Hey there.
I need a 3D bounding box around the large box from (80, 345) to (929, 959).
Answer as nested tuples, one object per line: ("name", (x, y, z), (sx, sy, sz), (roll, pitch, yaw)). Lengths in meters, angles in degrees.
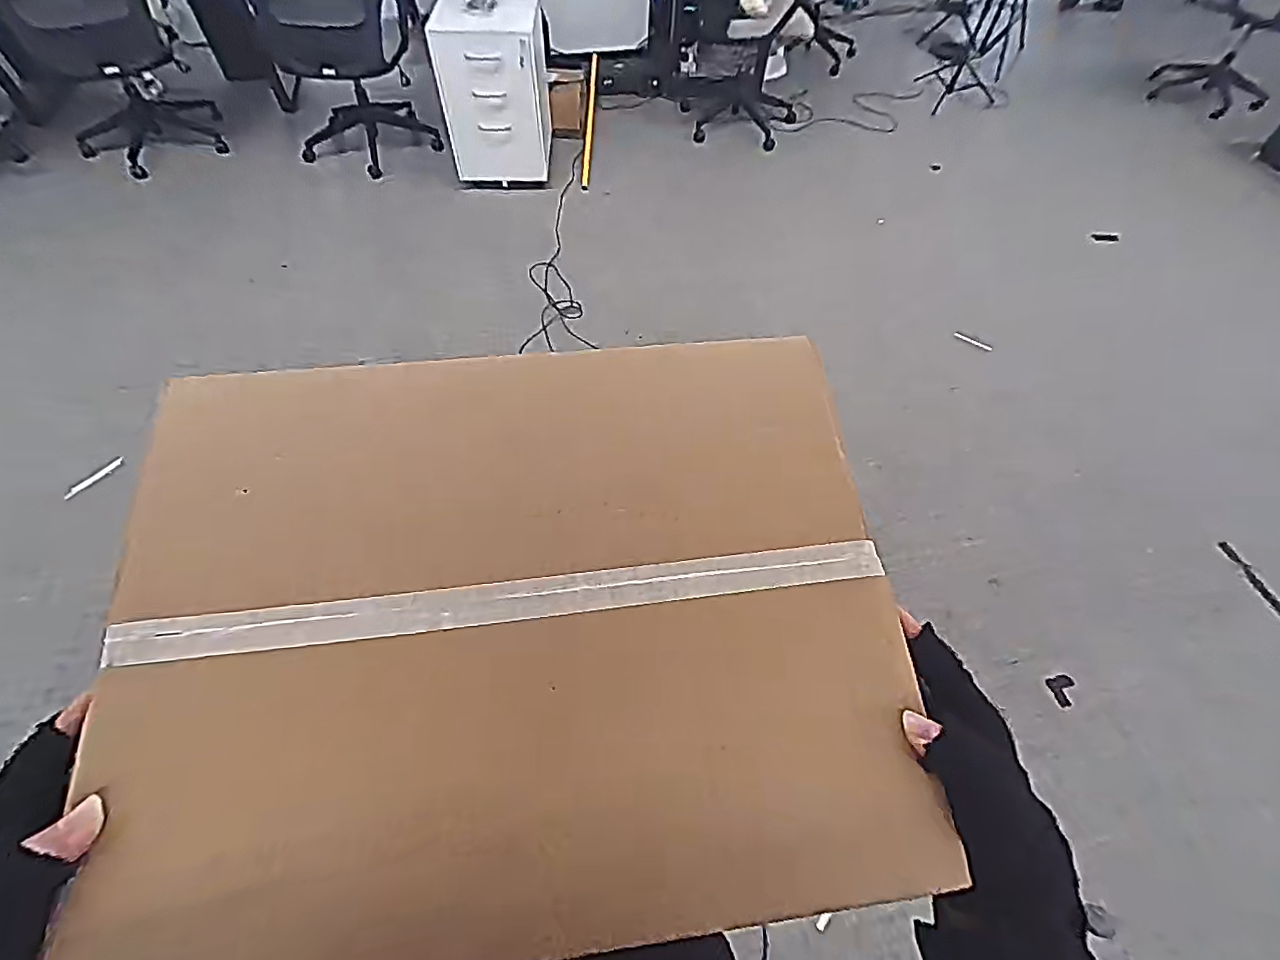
("large box", (-0.074, 0.122, 0.441), (0.408, 0.320, 0.320), (-6, 68, -5))
